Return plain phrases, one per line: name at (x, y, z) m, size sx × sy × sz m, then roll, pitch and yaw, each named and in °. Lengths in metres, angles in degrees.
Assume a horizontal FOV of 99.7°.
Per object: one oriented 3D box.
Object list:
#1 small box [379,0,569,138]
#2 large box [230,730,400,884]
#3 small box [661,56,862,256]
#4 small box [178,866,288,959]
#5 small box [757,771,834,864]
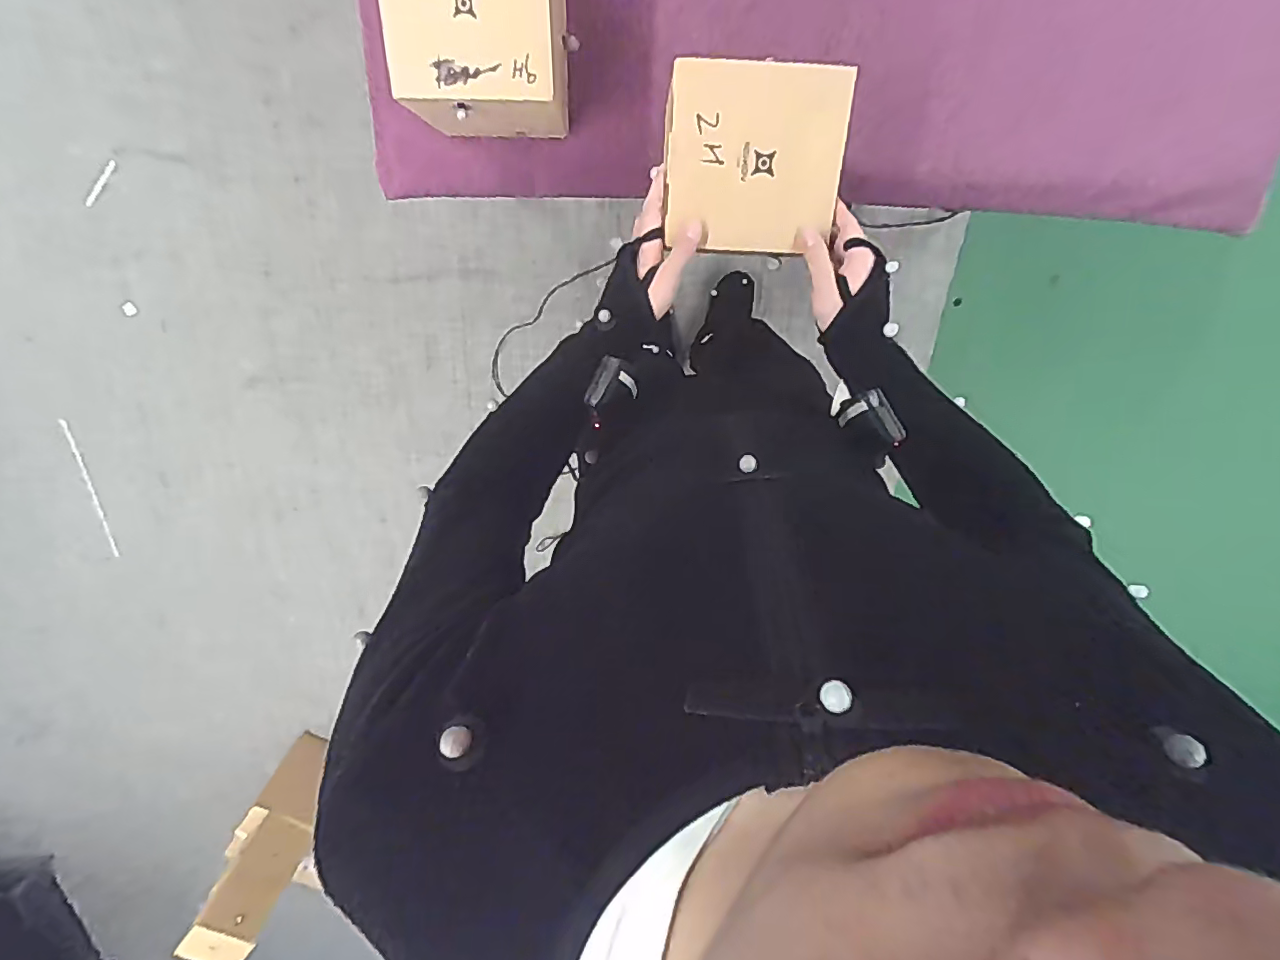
small box at (-0.169, -0.494, 0.586) m, size 0.168 × 0.176 × 0.179 m, roll 0°, pitch 112°, yaw -1°
large box at (-1.207, 1.227, 2.041) m, size 0.408 × 0.320 × 0.320 m, roll 32°, pitch 110°, yaw -15°
small box at (0.118, -0.344, 0.606) m, size 0.179 × 0.176 × 0.168 m, roll 2°, pitch 112°, yaw 0°
small box at (-1.220, 1.310, 1.632) m, size 0.179 × 0.176 × 0.168 m, roll 35°, pitch 107°, yaw -16°
small box at (0.491, 1.080, 1.738) m, size 0.179 × 0.176 × 0.168 m, roll -27°, pitch 111°, yaw 10°
